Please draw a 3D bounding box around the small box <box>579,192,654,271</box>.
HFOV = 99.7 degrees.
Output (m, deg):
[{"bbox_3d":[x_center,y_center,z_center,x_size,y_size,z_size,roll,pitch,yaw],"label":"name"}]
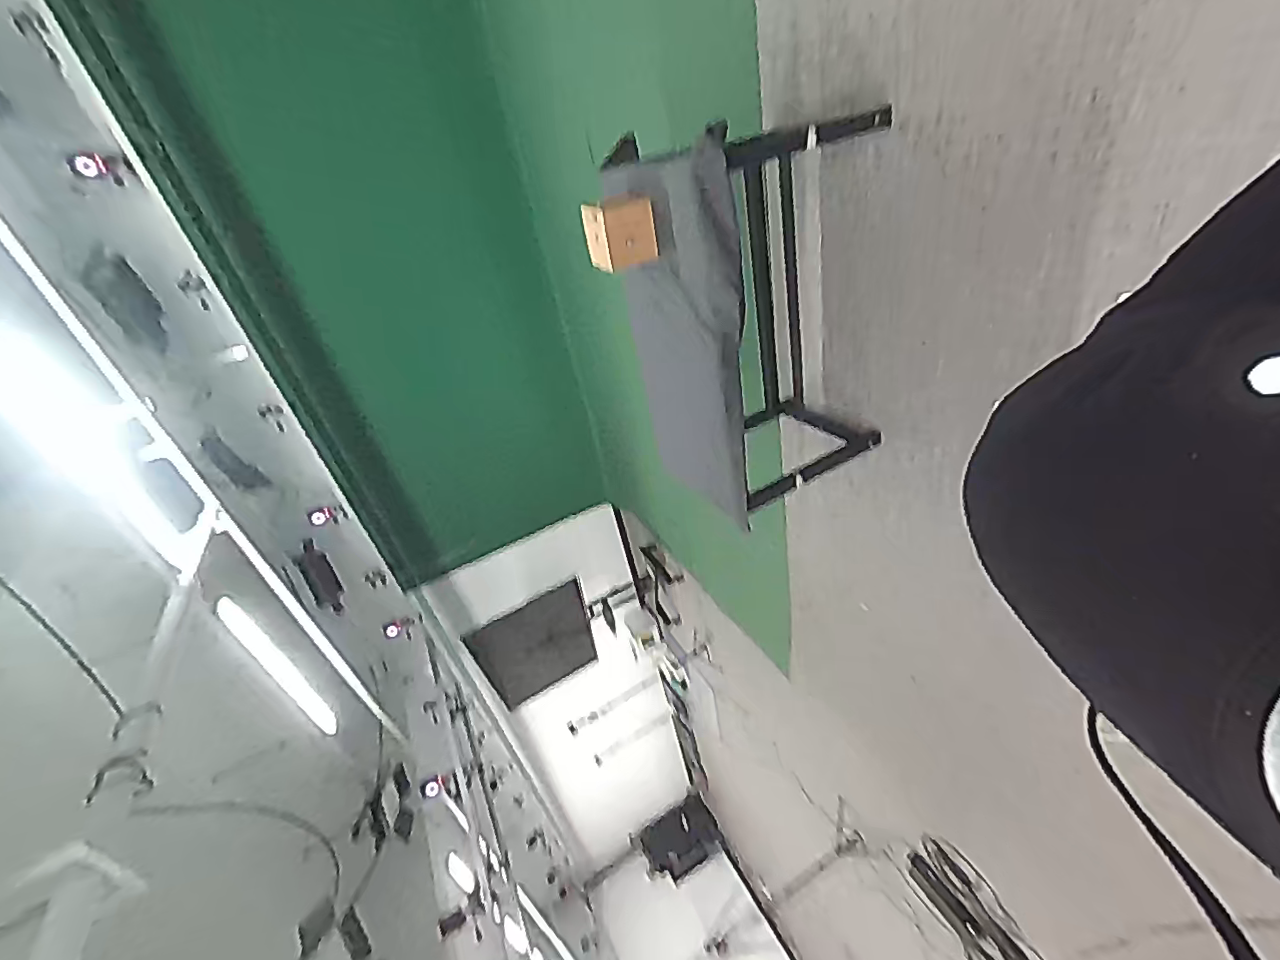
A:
[{"bbox_3d":[-0.068,-0.790,1.714,0.168,0.176,0.179,44,154,48],"label":"small box"}]
